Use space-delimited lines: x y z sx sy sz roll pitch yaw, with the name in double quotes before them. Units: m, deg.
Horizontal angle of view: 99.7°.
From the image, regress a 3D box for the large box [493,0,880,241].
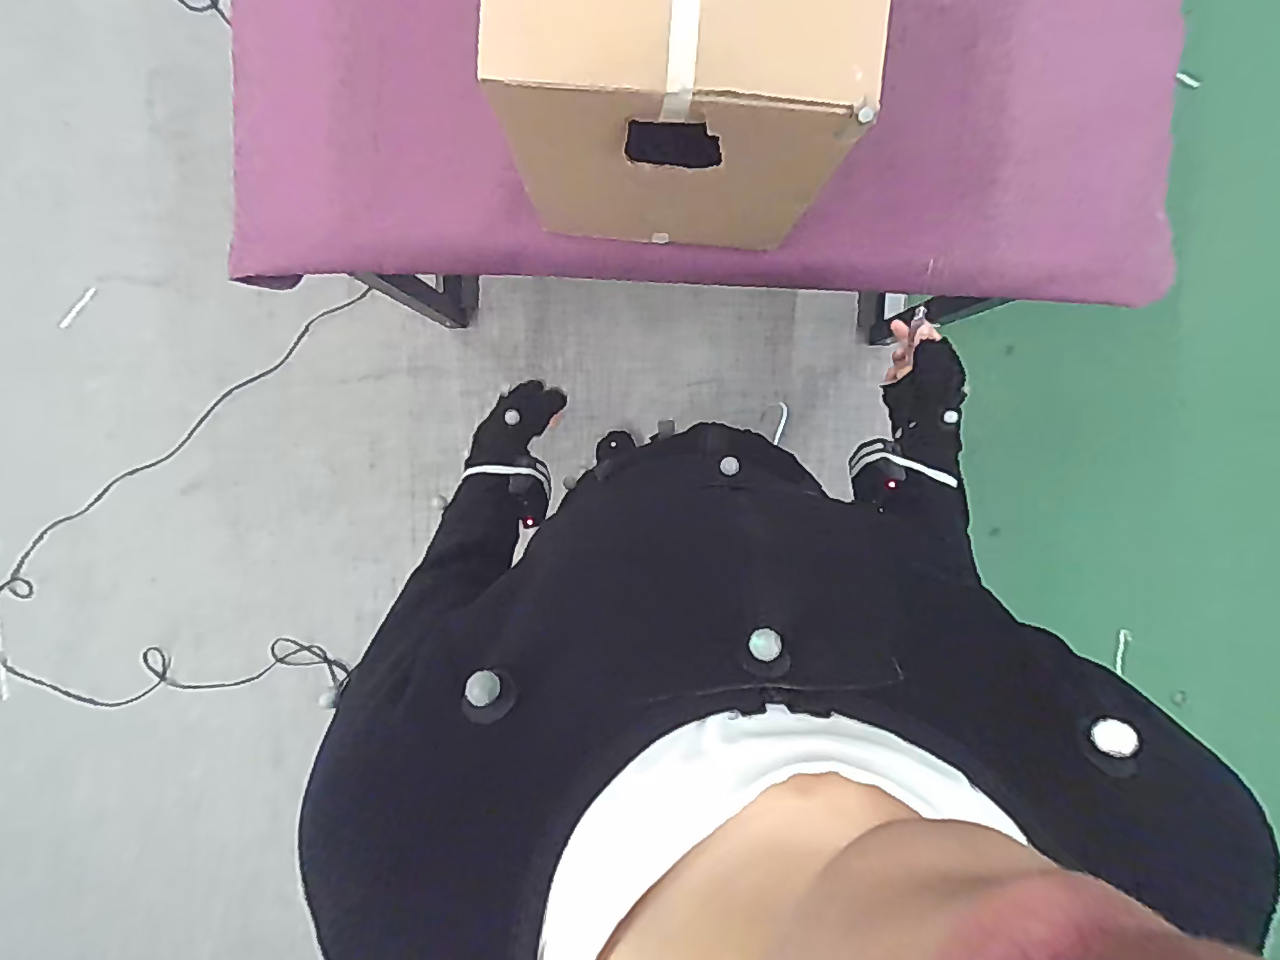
"large box" 0.043 -0.516 0.564 0.320 0.320 0.408 4 95 -1
